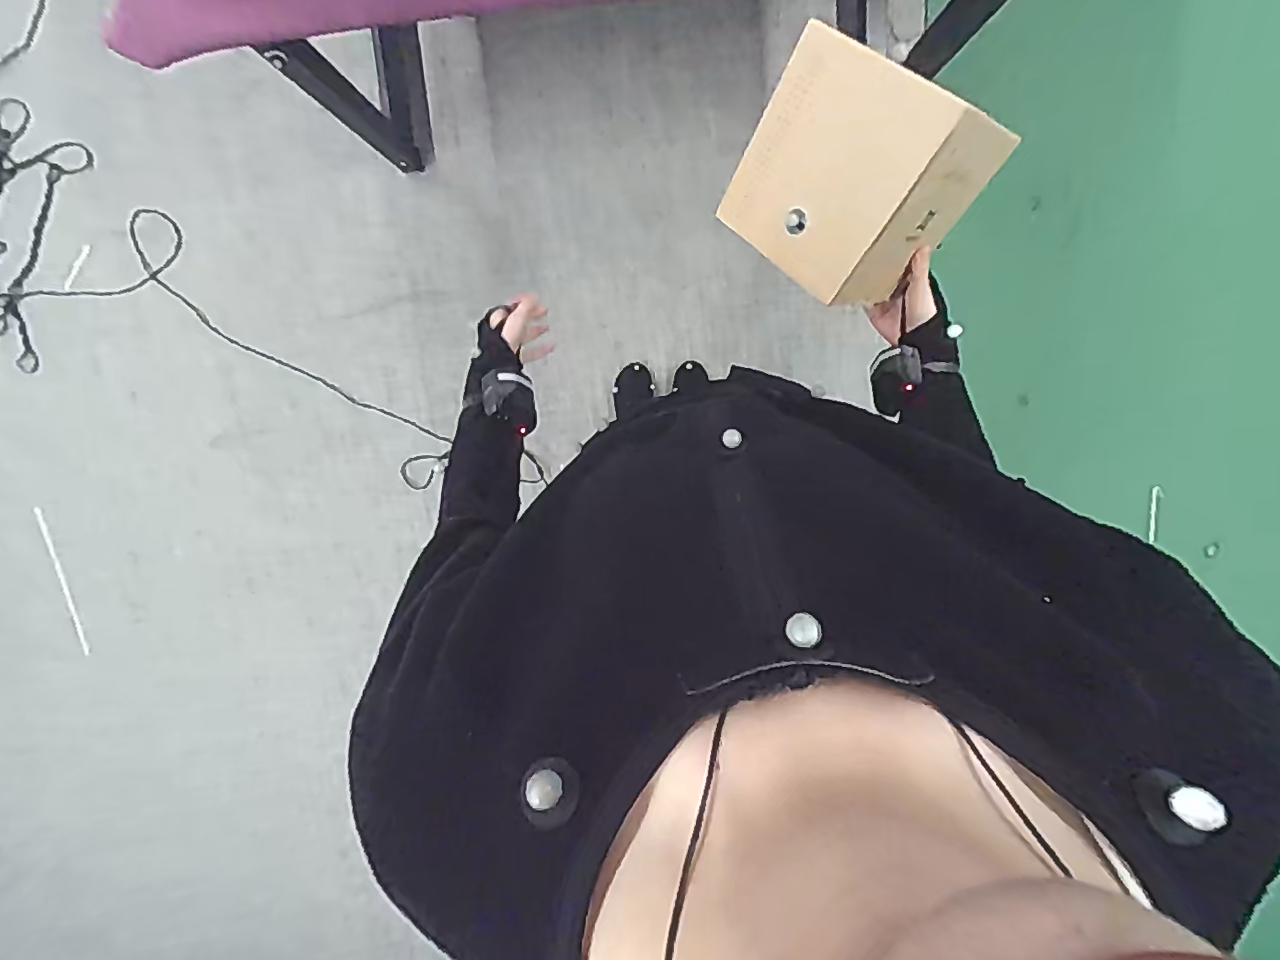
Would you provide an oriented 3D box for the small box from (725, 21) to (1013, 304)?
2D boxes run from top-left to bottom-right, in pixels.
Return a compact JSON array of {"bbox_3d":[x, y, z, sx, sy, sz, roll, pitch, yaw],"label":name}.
[{"bbox_3d":[0.211,-0.299,0.536,0.176,0.168,0.179,50,135,22],"label":"small box"}]
